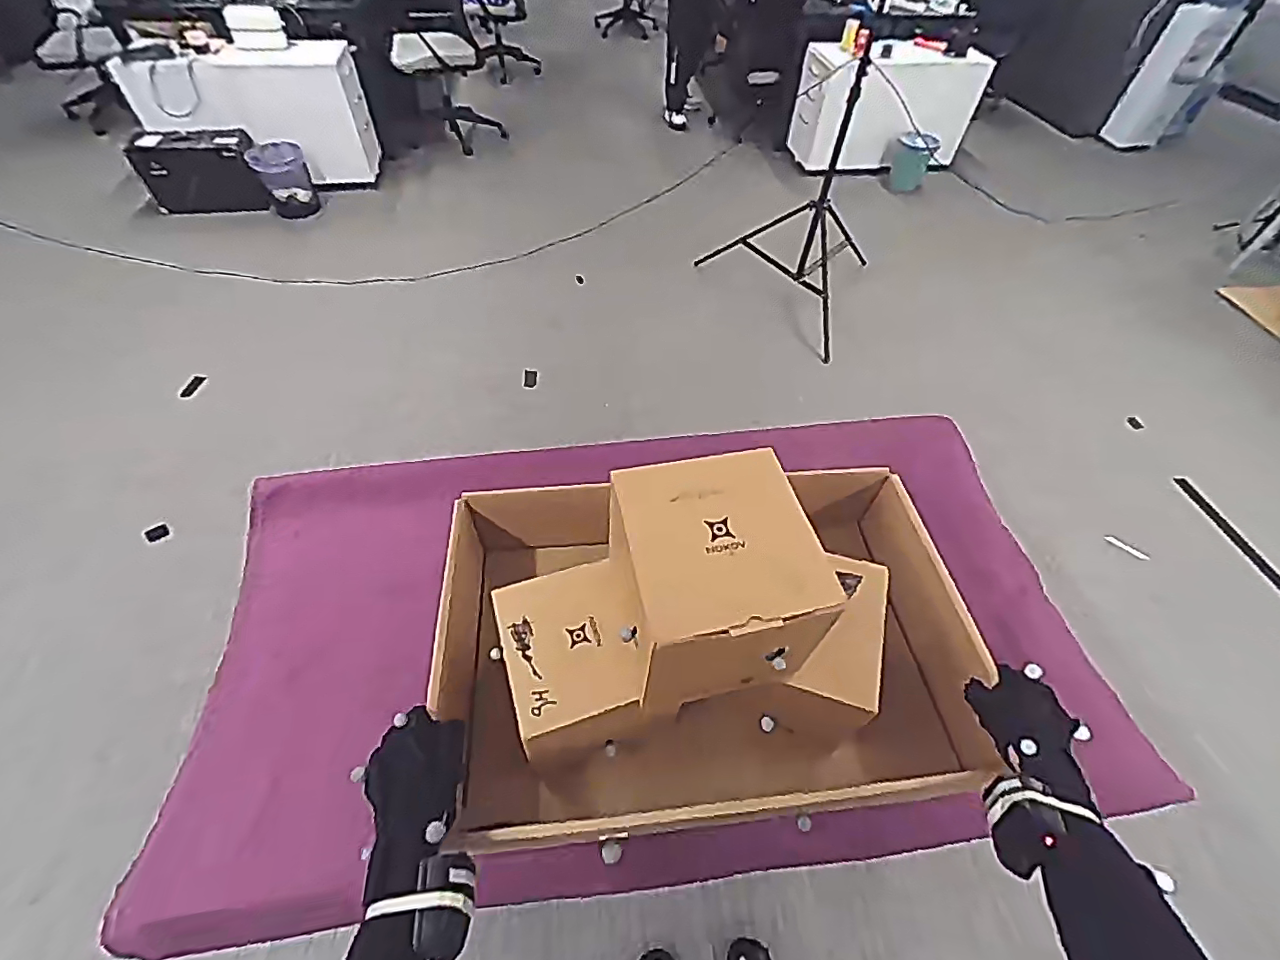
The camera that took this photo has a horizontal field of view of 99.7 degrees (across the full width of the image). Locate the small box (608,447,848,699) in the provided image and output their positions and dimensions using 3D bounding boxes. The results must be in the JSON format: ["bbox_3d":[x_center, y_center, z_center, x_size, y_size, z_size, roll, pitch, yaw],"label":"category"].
[{"bbox_3d":[0.066,0.096,0.525,0.168,0.176,0.179,-8,51,-11],"label":"small box"}]
